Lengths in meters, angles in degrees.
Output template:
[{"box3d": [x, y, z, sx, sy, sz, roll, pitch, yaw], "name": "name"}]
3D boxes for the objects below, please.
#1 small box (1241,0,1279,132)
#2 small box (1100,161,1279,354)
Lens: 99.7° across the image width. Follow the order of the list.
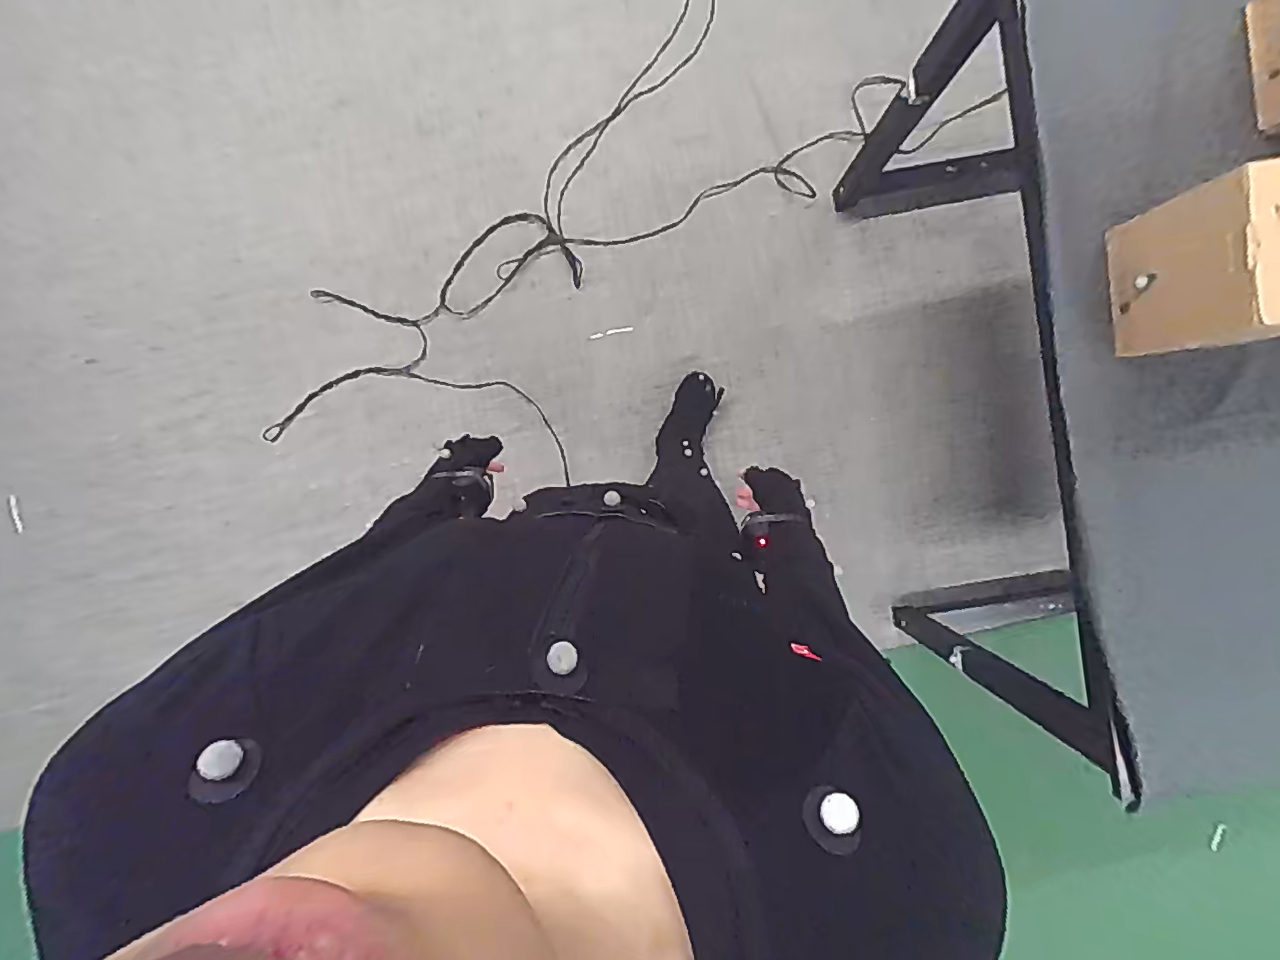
[{"box3d": [0.865, -0.536, 0.616, 0.179, 0.176, 0.168, -9, 93, 2], "name": "small box"}, {"box3d": [0.695, -0.251, 0.631, 0.179, 0.176, 0.168, -7, 92, 1], "name": "small box"}]
